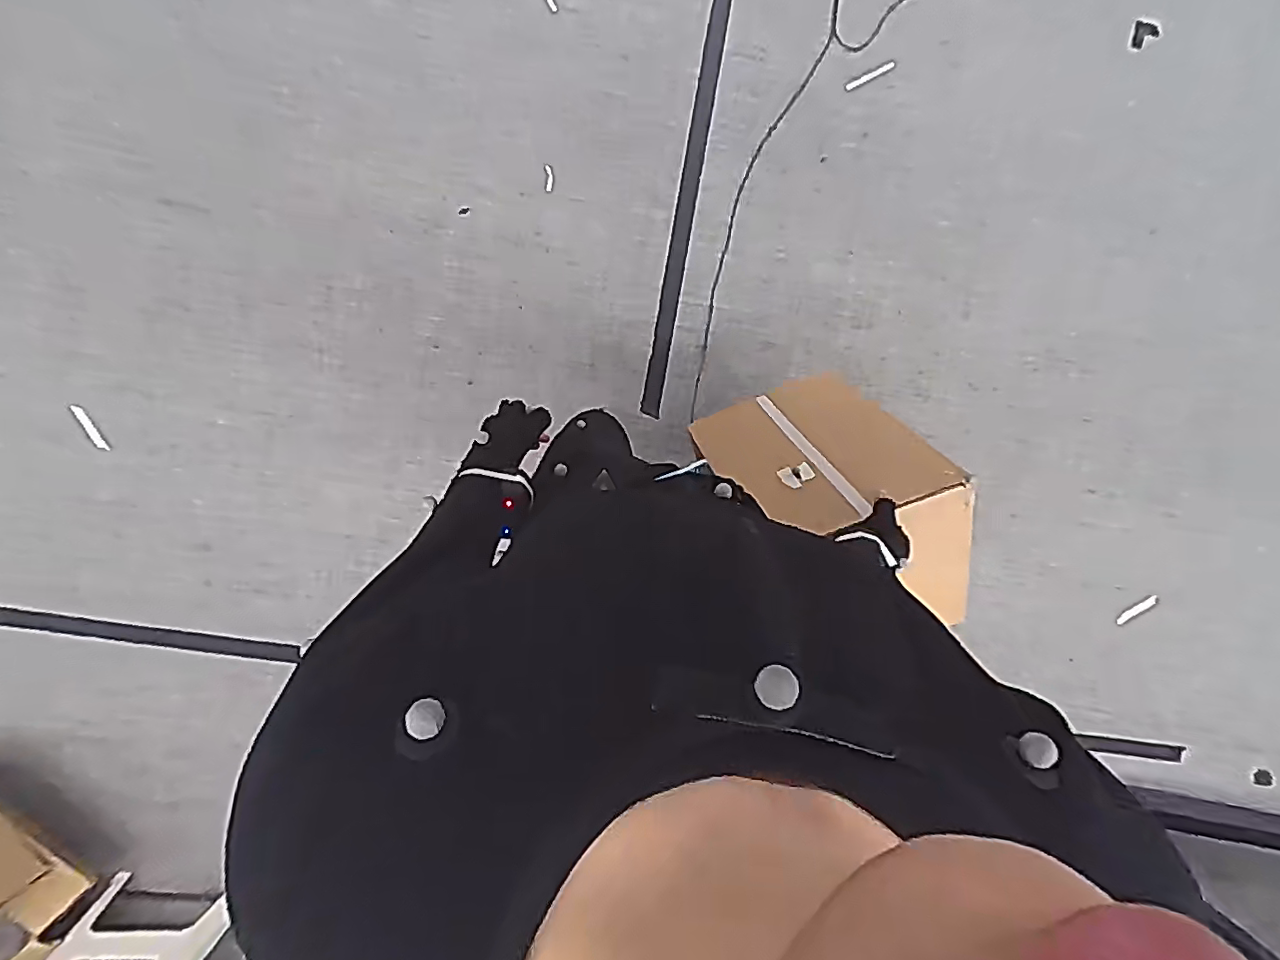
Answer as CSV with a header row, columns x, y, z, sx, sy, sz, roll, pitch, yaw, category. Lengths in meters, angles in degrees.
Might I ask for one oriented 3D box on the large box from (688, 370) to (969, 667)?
x,y,z,sx,sy,sz,roll,pitch,yaw,category
0.319,0.054,1.004,0.320,0.408,0.320,-21,127,0,large box
